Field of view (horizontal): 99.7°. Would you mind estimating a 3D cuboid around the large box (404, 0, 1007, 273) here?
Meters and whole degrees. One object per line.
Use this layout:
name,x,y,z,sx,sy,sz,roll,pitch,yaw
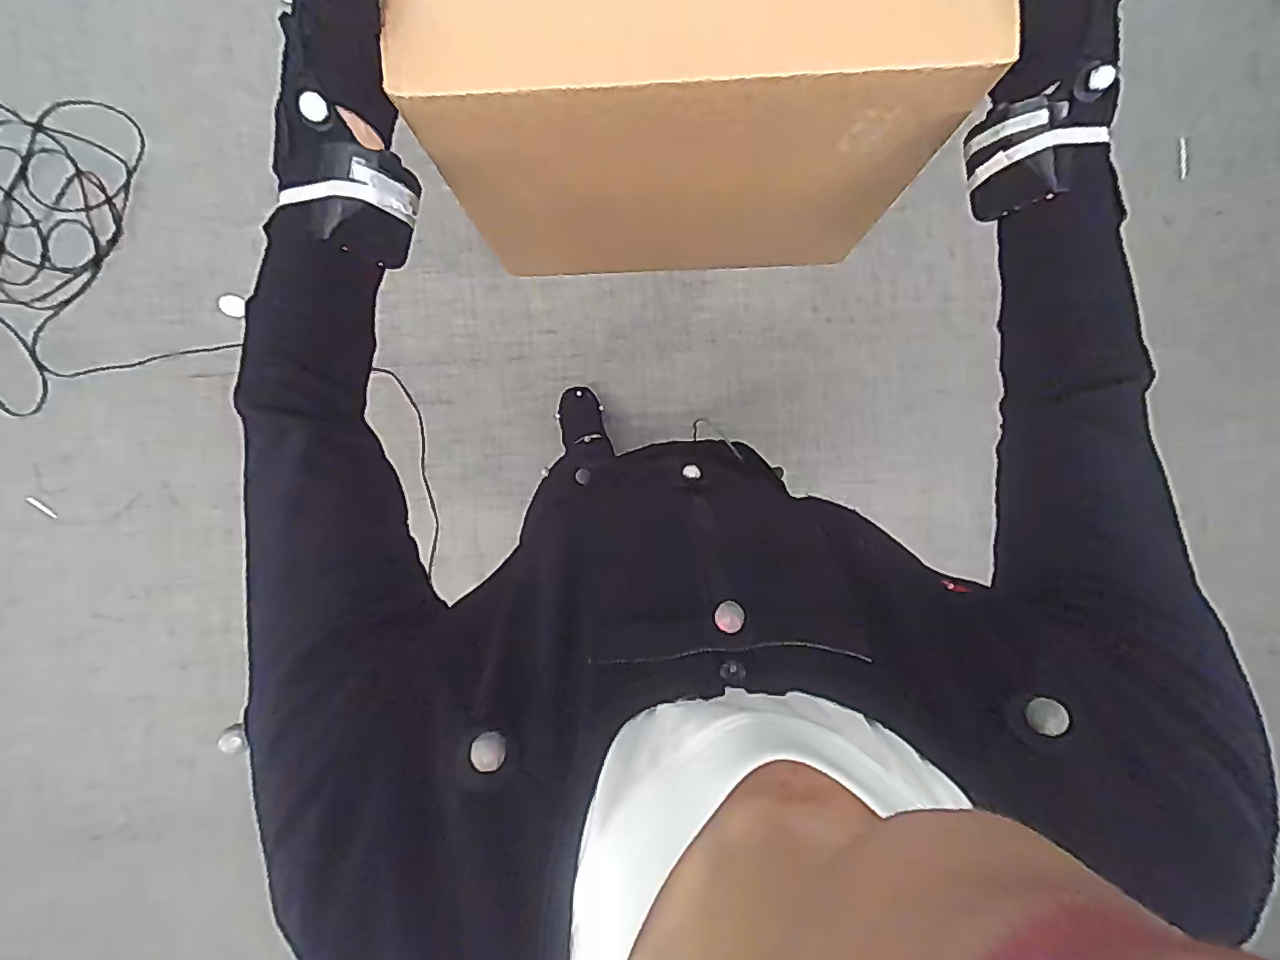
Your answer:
large box,0.035,-0.414,0.507,0.408,0.320,0.320,-3,90,0
